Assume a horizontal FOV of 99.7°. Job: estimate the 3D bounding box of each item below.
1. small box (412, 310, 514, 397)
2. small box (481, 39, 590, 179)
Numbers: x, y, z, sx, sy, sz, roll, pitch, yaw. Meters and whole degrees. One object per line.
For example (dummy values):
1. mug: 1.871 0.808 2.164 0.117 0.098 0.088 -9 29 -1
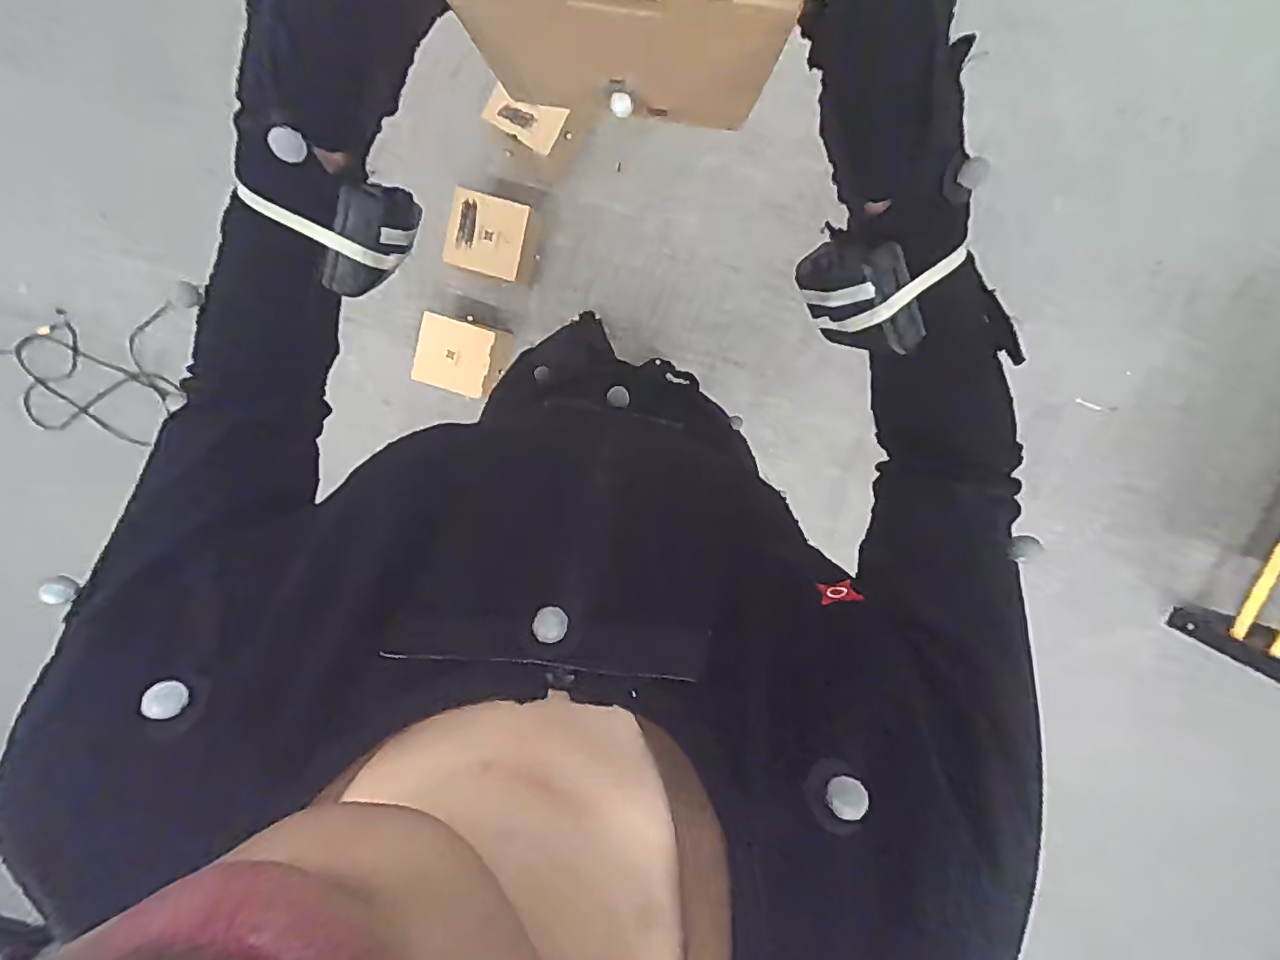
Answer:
1. small box: -0.436 -0.313 1.353 0.179 0.176 0.168 17 102 -1
2. small box: -0.228 -0.830 1.233 0.168 0.176 0.179 30 100 -4
